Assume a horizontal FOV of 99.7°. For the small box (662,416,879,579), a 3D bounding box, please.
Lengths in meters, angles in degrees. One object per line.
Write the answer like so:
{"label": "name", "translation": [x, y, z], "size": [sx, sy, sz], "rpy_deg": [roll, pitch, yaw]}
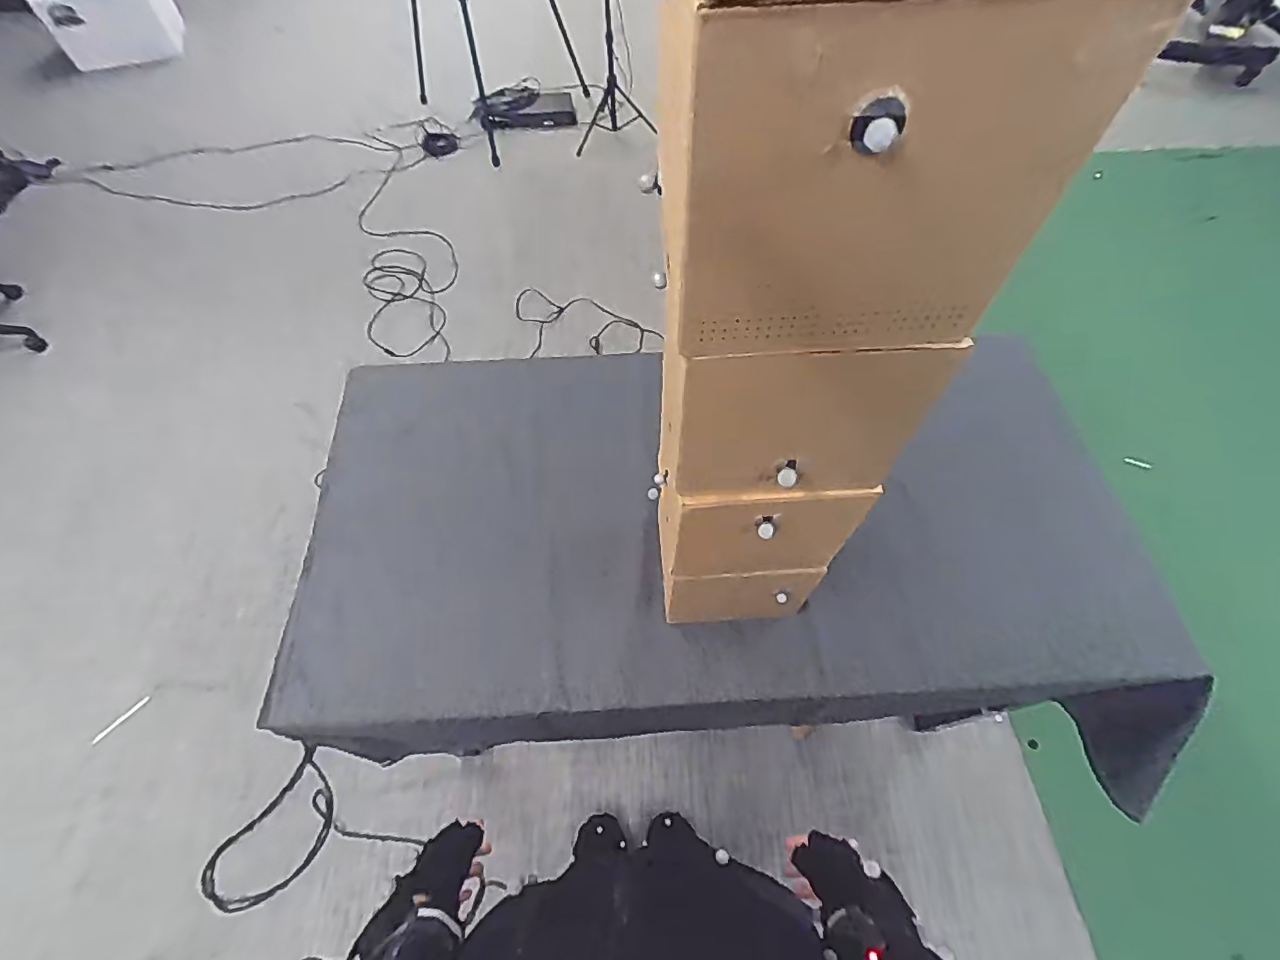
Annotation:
{"label": "small box", "translation": [0.118, -0.004, 0.573], "size": [0.179, 0.176, 0.168], "rpy_deg": [-4, 58, -1]}

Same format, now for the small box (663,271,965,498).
{"label": "small box", "translation": [0.112, -0.095, 0.437], "size": [0.179, 0.176, 0.168], "rpy_deg": [-2, 58, 0]}

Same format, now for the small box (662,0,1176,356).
{"label": "small box", "translation": [0.103, -0.185, 0.300], "size": [0.179, 0.176, 0.168], "rpy_deg": [-3, 58, -1]}
